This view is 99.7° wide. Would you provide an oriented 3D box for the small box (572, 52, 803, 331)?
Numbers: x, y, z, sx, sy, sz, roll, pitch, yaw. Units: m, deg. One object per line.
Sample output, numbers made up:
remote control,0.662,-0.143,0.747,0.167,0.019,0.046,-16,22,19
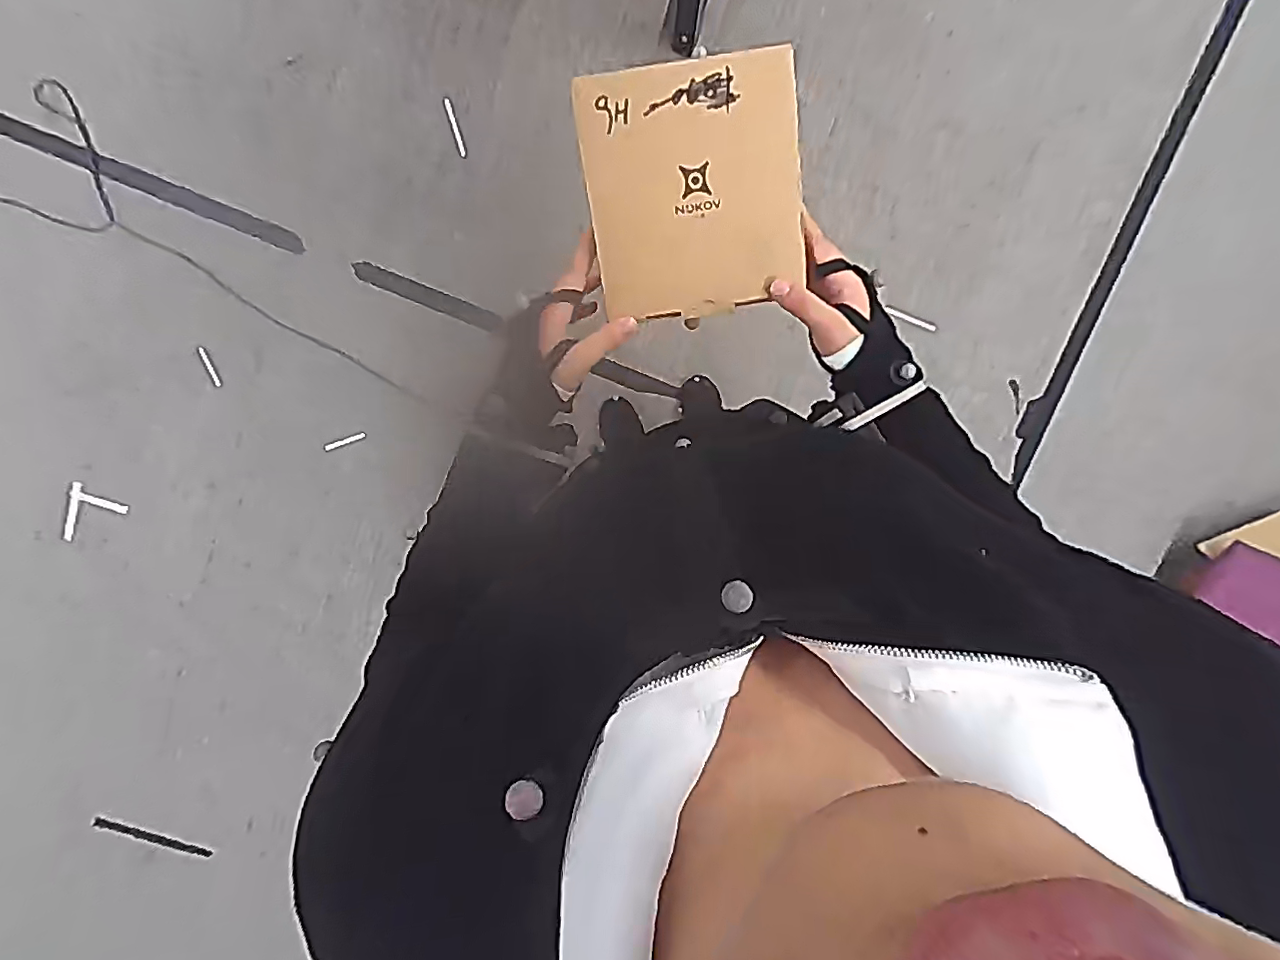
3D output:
small box,0.039,-0.242,0.491,0.168,0.176,0.179,-9,109,0
